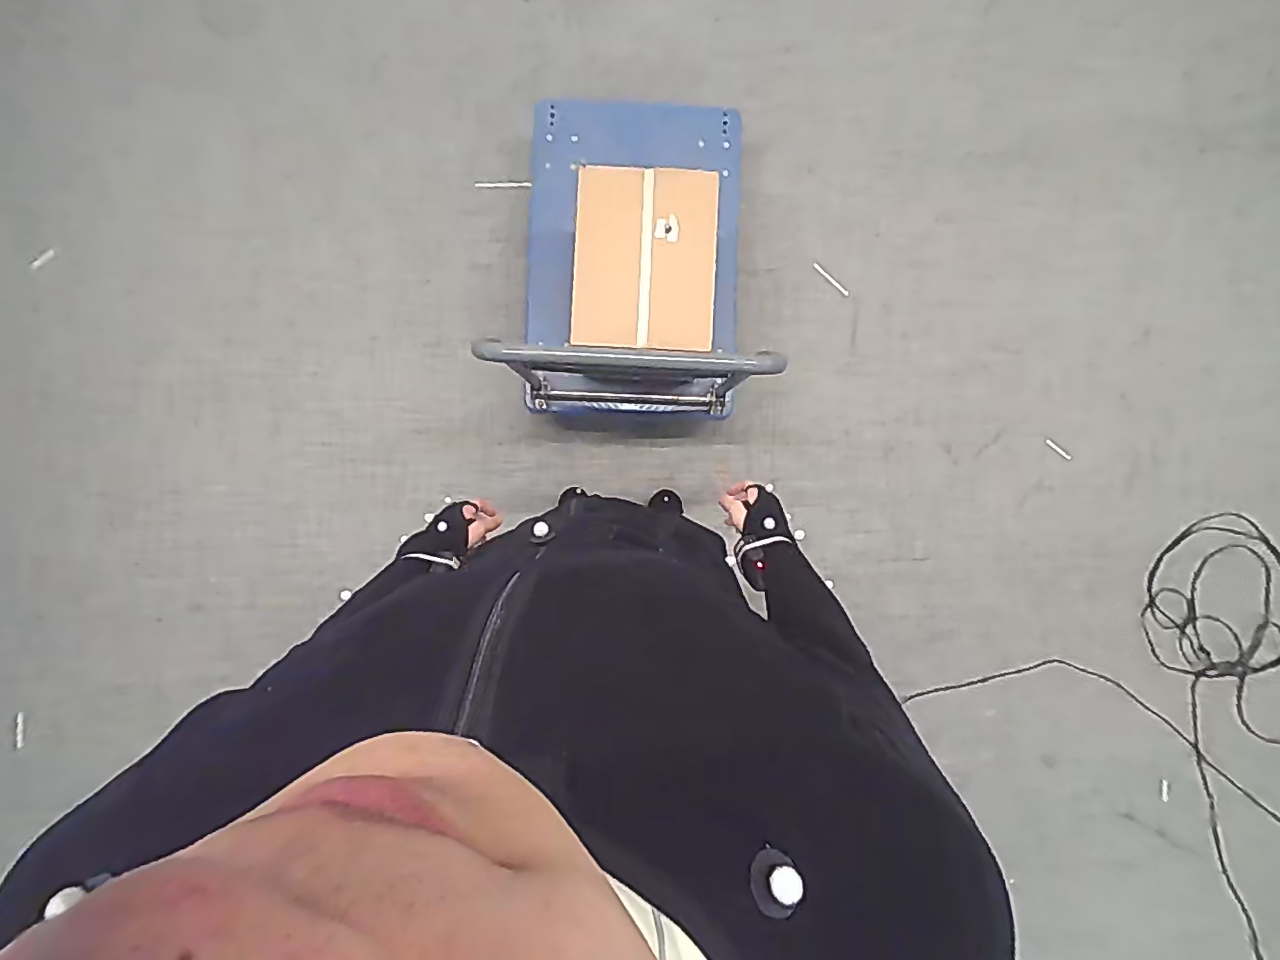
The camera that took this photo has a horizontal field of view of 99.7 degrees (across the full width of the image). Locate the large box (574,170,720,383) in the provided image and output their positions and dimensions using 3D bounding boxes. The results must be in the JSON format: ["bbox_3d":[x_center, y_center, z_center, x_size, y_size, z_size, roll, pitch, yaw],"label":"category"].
[{"bbox_3d":[0.015,-0.469,1.326,0.320,0.320,0.408,3,87,-2],"label":"large box"}]
